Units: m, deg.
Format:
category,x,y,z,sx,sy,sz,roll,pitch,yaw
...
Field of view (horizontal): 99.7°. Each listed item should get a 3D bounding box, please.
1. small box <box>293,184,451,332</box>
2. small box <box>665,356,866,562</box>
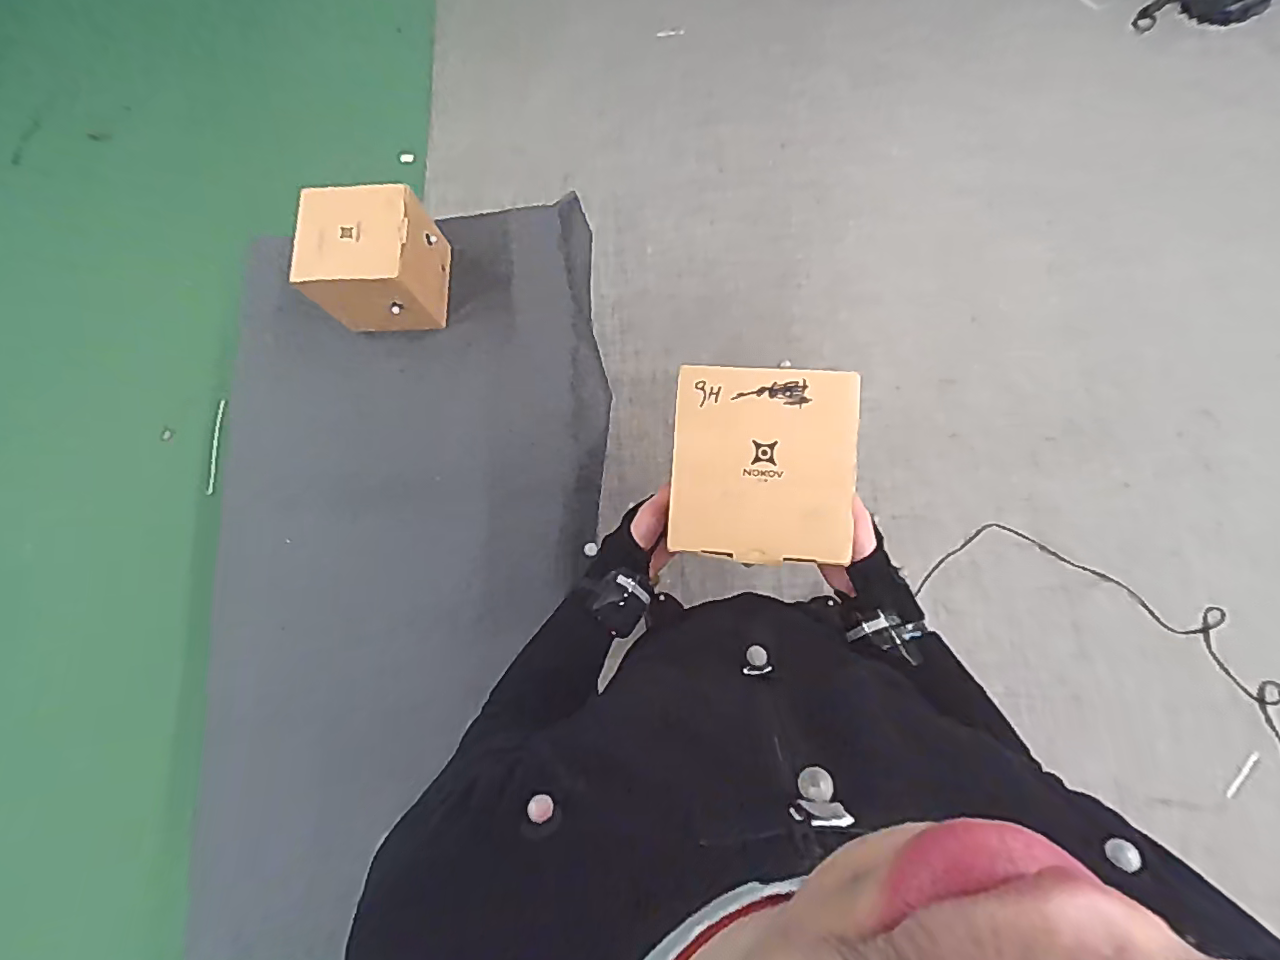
category,x,y,z,sx,sy,sz,roll,pitch,yaw
small box,-0.437,-0.365,0.912,0.179,0.176,0.168,-1,77,5
small box,0.120,-0.018,0.560,0.168,0.176,0.179,5,88,6
